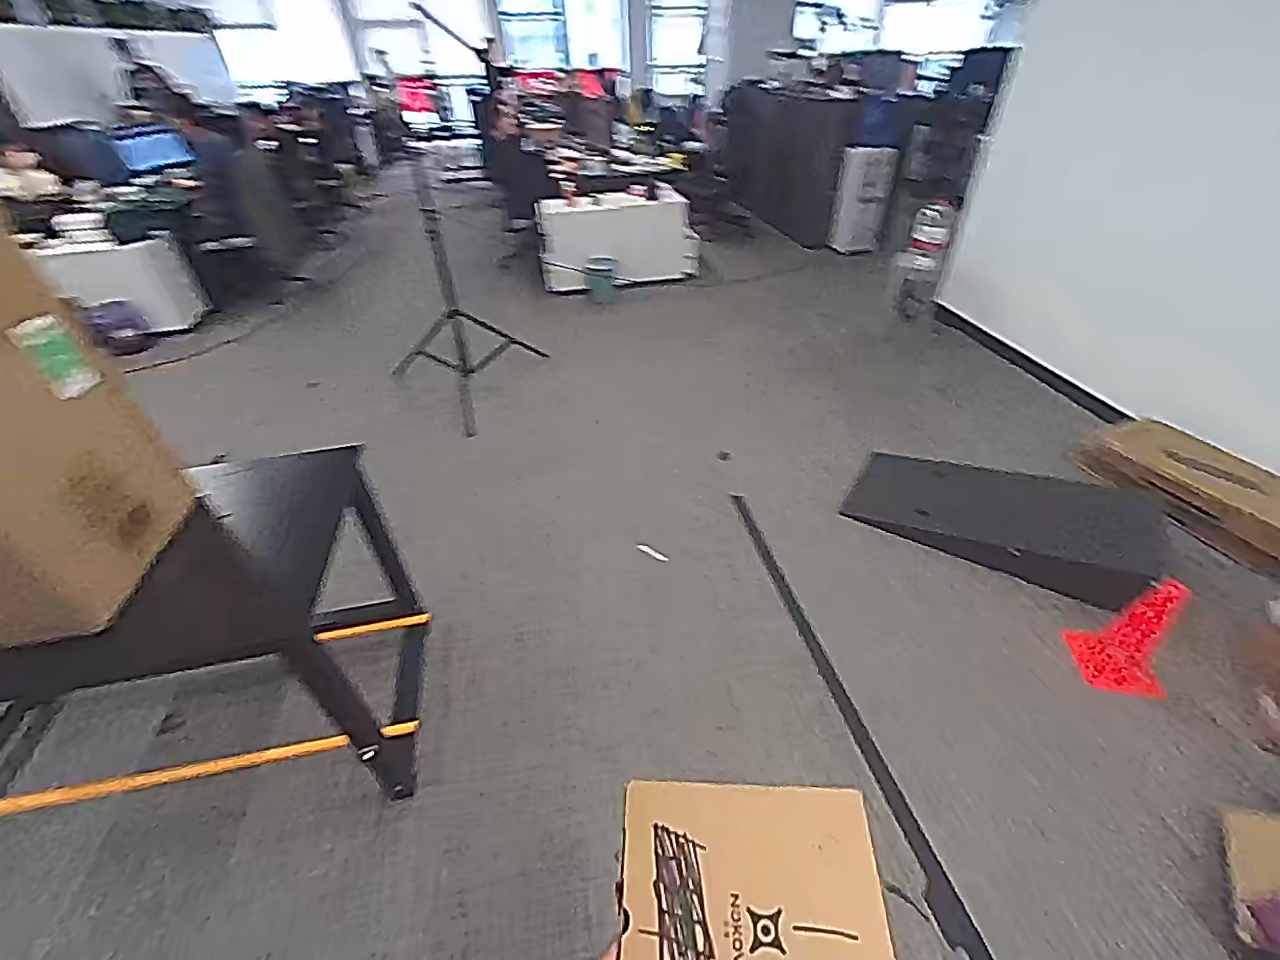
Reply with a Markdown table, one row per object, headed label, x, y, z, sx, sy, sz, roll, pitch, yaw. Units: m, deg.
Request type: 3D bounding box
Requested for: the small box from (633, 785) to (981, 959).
| label | x | y | z | sx | sy | sz | roll | pitch | yaw |
| --- | --- | --- | --- | --- | --- | --- | --- | --- | --- |
| small box | 0.086 | 0.297 | 0.328 | 0.179 | 0.176 | 0.168 | 0 | 49 | 1 |
